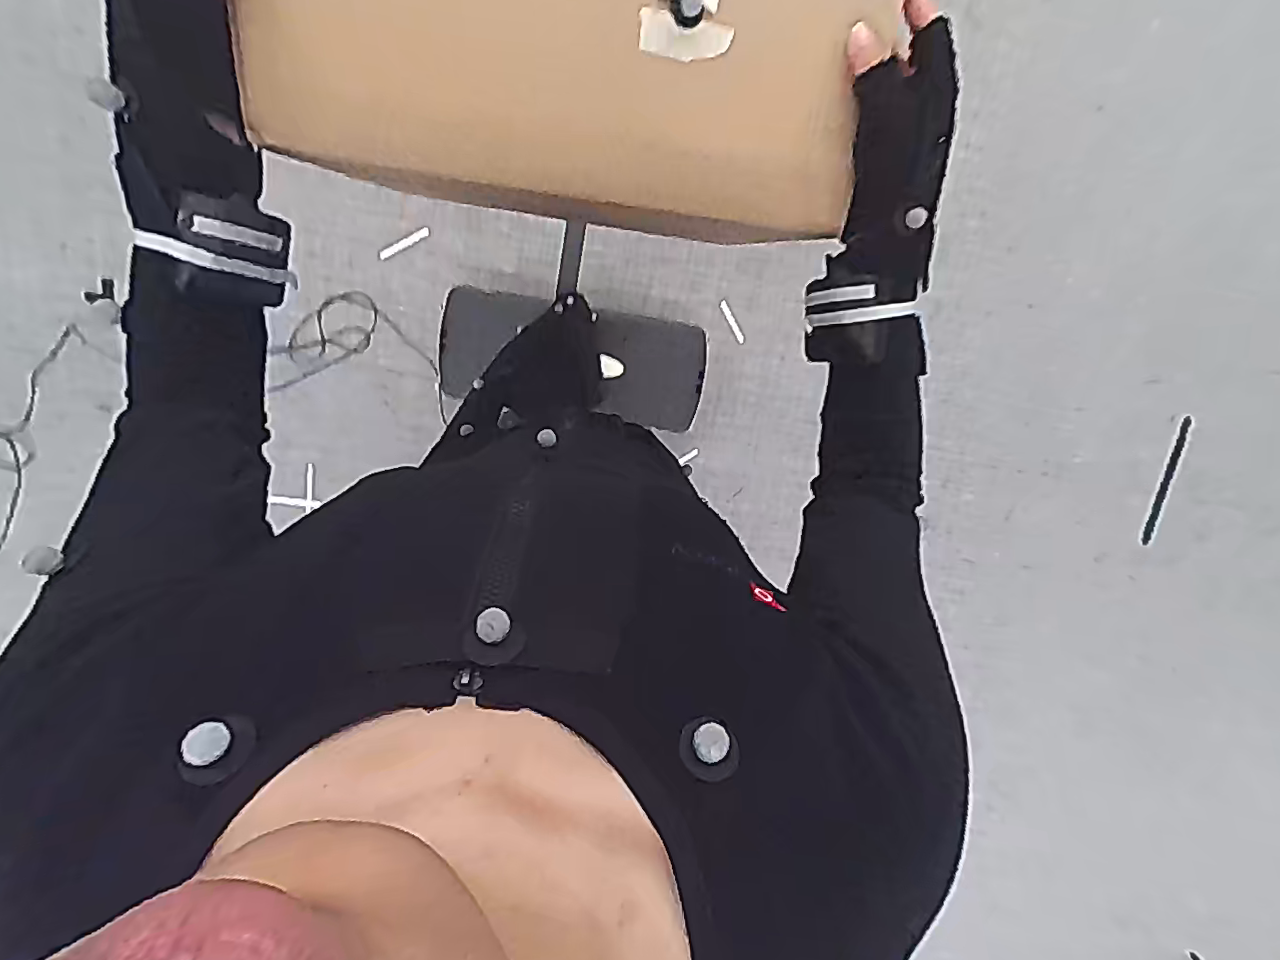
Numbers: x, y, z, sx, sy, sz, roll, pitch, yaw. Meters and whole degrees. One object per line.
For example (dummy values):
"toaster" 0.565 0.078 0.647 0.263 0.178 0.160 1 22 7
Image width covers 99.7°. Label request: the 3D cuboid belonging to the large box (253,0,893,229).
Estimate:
"large box" -0.042 -0.409 0.454 0.408 0.320 0.320 5 113 -8
